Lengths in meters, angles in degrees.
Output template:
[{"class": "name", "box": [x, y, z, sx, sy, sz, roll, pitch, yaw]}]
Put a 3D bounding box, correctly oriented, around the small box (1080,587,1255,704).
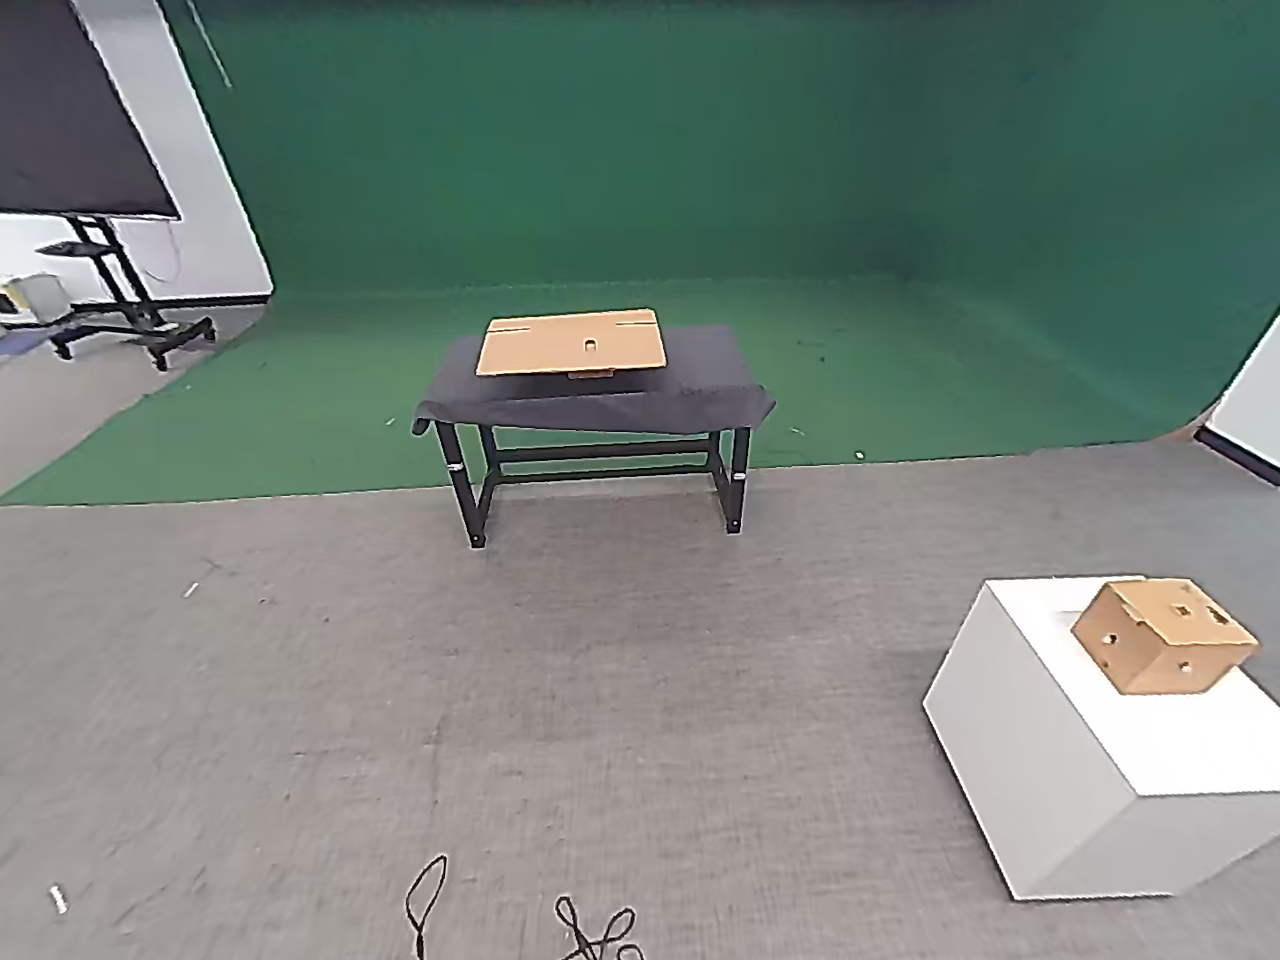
[{"class": "small box", "box": [1.059, 0.341, 1.112, 0.179, 0.176, 0.168, -2, 35, -3]}]
